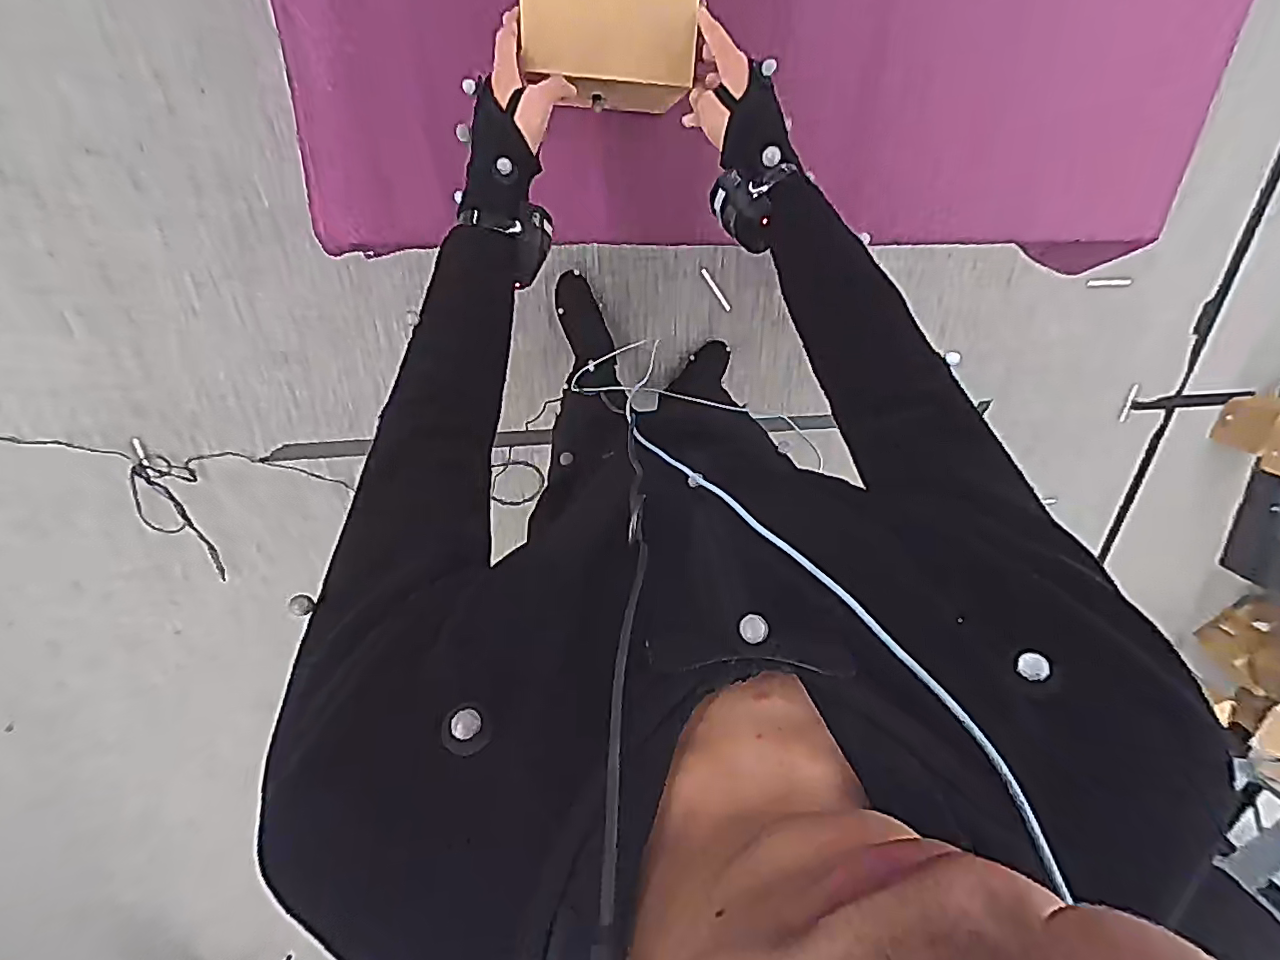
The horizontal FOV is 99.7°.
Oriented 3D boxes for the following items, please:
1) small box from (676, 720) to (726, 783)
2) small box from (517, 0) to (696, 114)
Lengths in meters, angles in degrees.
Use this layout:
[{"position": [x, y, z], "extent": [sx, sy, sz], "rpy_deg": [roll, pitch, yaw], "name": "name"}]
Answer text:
[{"position": [0.255, 1.157, 2.305], "extent": [0.179, 0.176, 0.168], "rpy_deg": [-6, 118, -9], "name": "small box"}, {"position": [-0.038, -0.493, 0.552], "extent": [0.168, 0.176, 0.179], "rpy_deg": [-1, 116, -9], "name": "small box"}]
